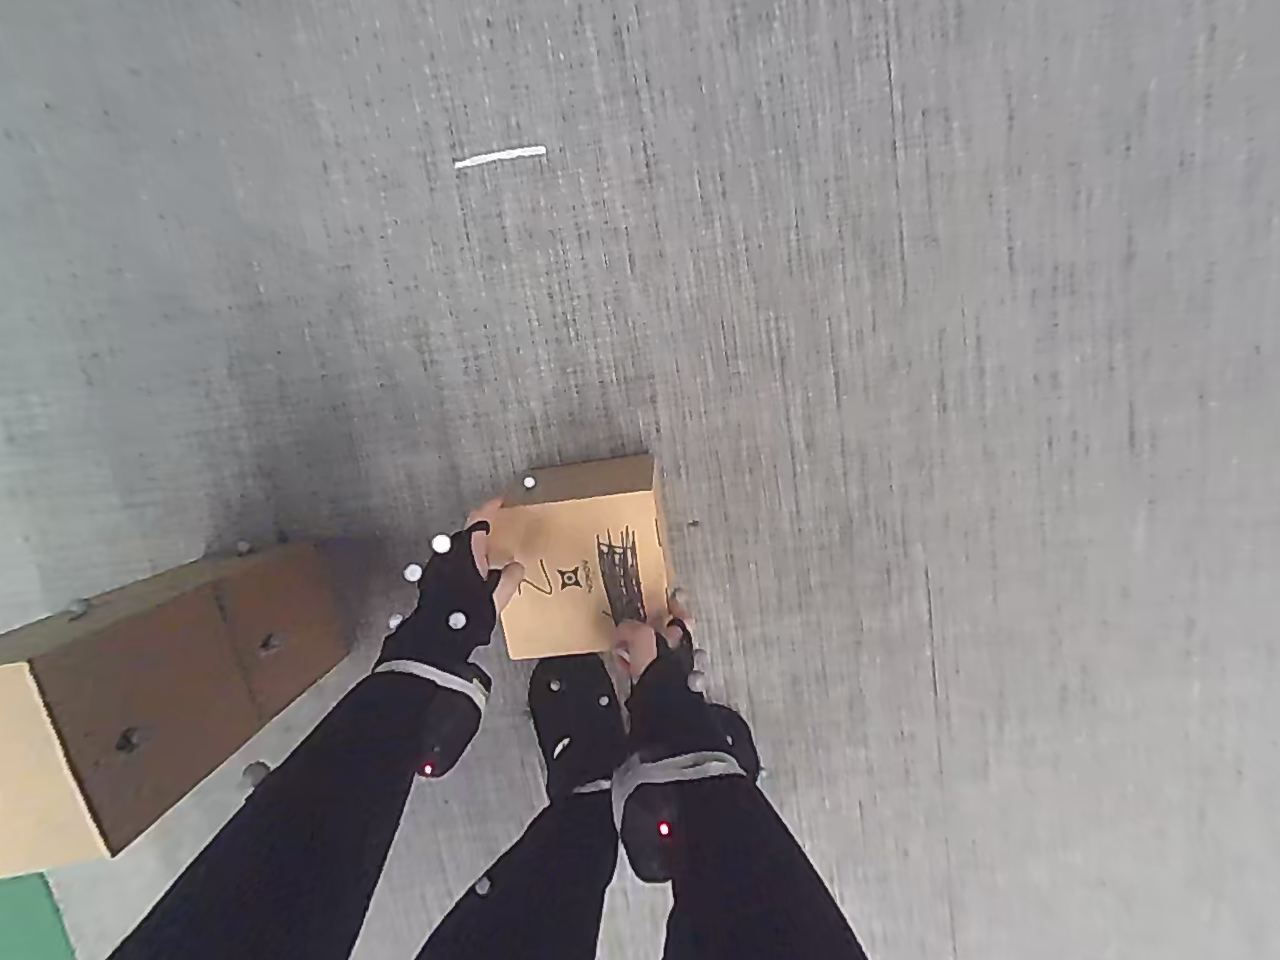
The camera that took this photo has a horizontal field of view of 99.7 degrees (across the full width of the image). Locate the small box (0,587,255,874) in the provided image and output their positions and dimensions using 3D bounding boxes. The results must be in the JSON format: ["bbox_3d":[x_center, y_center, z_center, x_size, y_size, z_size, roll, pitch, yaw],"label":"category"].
[{"bbox_3d":[-0.512,0.222,0.508,0.168,0.176,0.179,-11,99,3],"label":"small box"}]

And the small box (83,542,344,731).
[{"bbox_3d":[-0.504,0.192,0.669,0.168,0.176,0.179,-10,99,4],"label":"small box"}]
